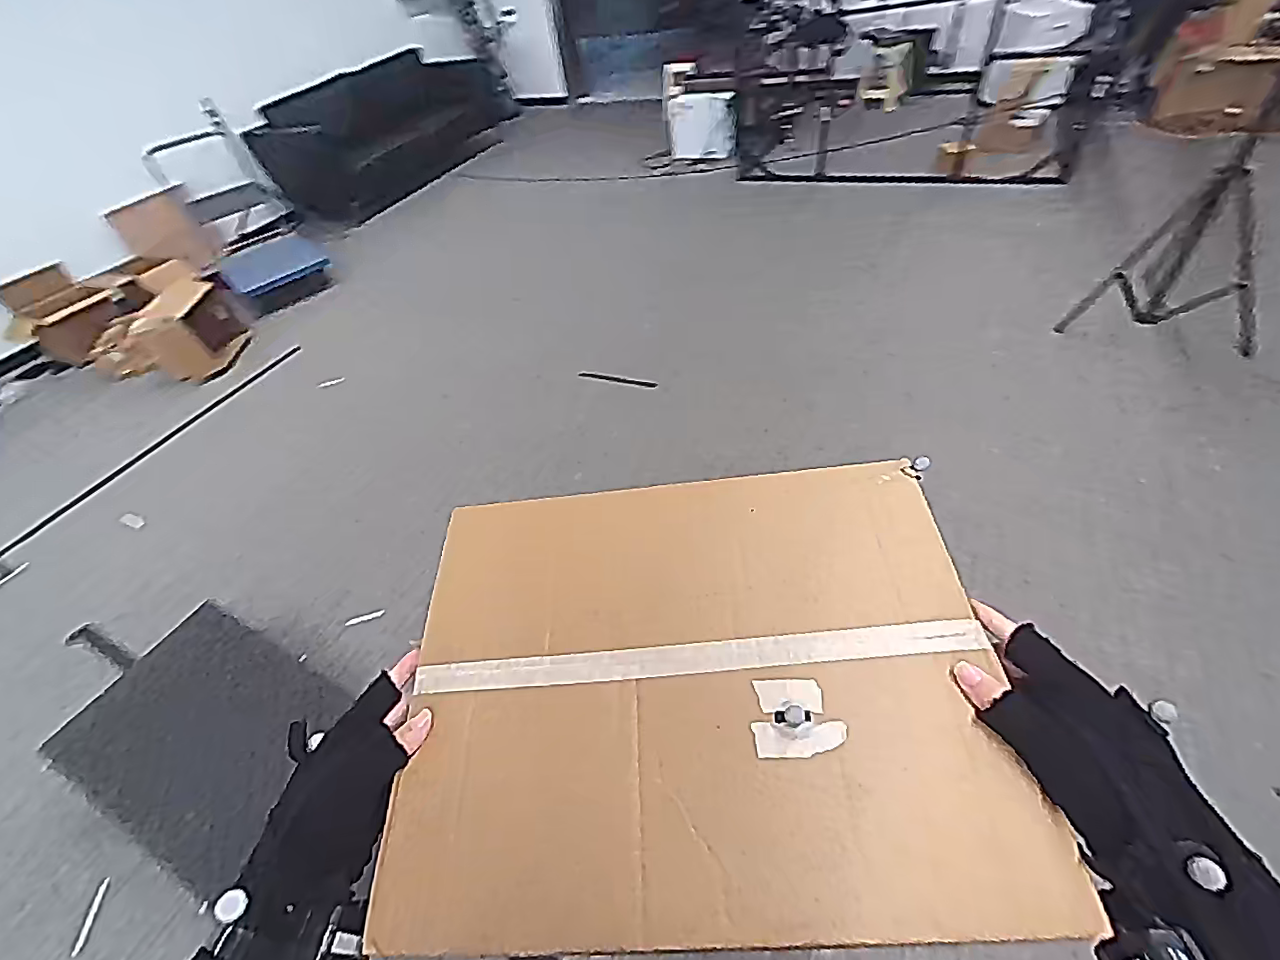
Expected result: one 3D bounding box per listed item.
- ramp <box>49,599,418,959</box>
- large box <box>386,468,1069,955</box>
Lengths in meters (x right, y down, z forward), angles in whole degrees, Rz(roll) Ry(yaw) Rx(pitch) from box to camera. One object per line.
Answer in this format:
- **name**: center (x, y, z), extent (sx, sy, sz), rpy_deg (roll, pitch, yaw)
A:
- **ramp**: center (-0.994, 0.723, 1.412), extent (0.991, 0.206, 0.509), rpy_deg (16, 51, 23)
- **large box**: center (0.052, 0.224, 0.516), extent (0.408, 0.320, 0.320), rpy_deg (-7, 53, 4)
